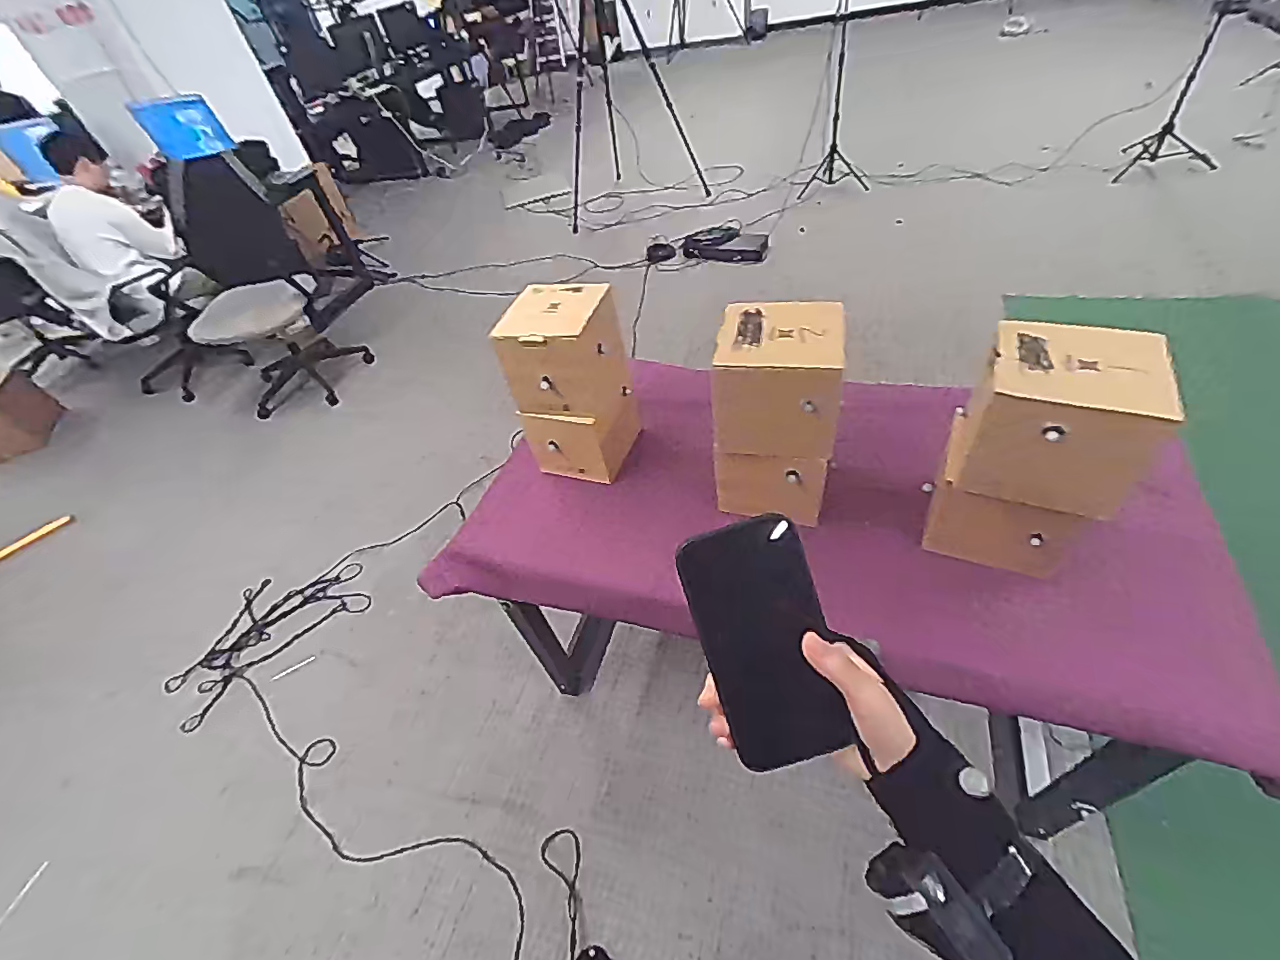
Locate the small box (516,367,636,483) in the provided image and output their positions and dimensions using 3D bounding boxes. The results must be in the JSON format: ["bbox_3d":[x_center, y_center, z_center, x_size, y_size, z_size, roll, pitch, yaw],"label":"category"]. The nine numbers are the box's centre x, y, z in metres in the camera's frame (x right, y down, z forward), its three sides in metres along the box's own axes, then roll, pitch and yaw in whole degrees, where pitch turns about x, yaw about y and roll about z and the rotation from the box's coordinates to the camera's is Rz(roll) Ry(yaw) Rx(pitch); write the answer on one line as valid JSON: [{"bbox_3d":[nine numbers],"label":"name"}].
[{"bbox_3d":[-0.118,-0.117,1.099,0.168,0.176,0.179,10,50,21],"label":"small box"}]

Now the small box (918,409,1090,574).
[{"bbox_3d":[0.547,0.020,0.825,0.179,0.176,0.168,14,51,25],"label":"small box"}]

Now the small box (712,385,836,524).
[{"bbox_3d":[0.236,-0.043,0.950,0.179,0.176,0.168,9,50,20],"label":"small box"}]

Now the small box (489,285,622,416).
[{"bbox_3d":[-0.141,-0.235,0.986,0.168,0.176,0.179,6,49,17],"label":"small box"}]

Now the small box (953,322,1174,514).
[{"bbox_3d":[0.524,-0.080,0.696,0.179,0.176,0.168,15,51,23],"label":"small box"}]
